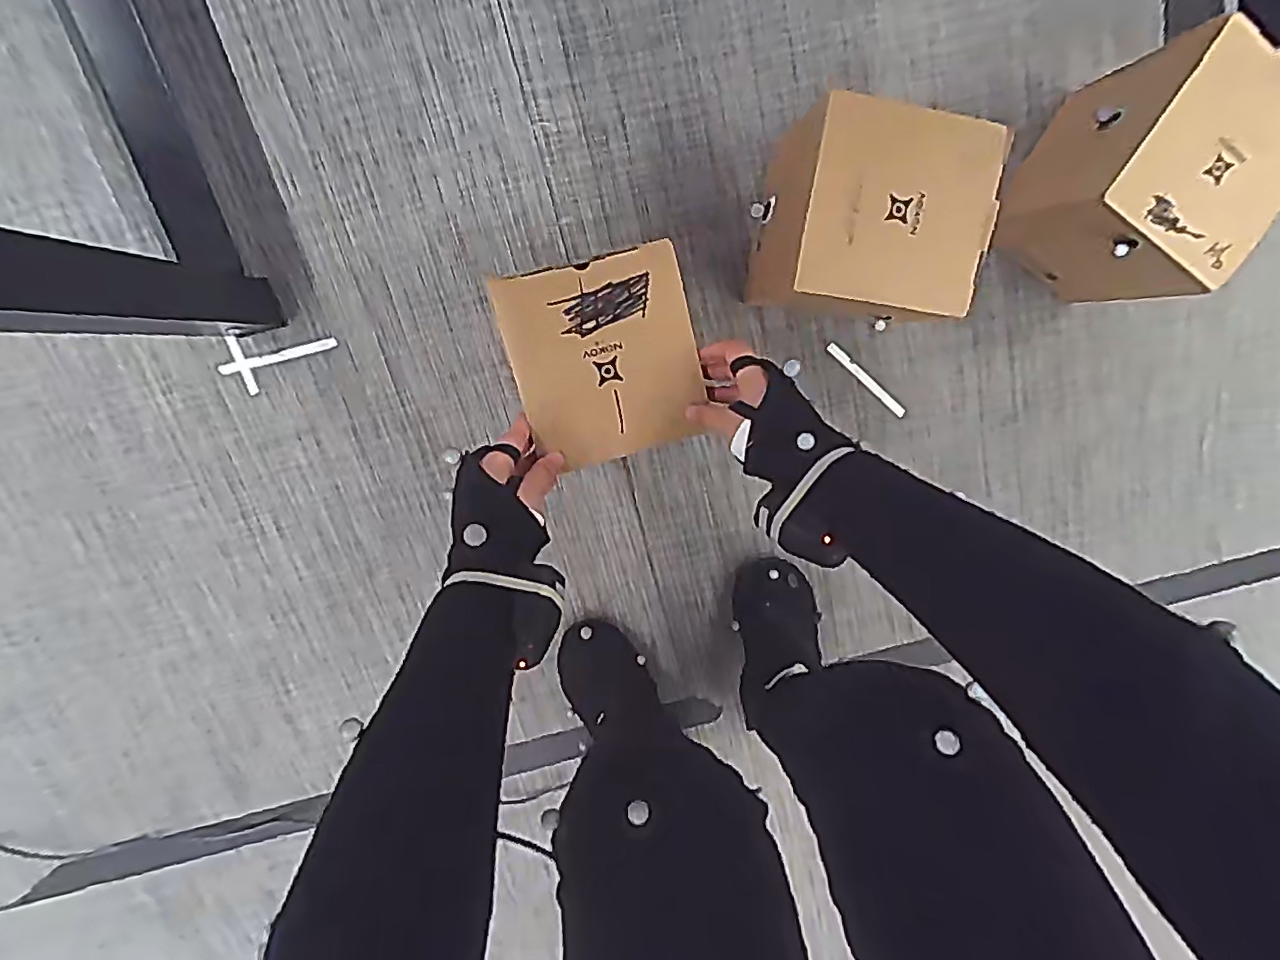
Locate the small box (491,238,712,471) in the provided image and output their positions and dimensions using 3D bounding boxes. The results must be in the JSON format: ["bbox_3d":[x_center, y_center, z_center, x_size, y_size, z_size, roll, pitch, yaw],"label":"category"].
[{"bbox_3d":[-0.041,-0.123,0.558,0.168,0.176,0.179,-15,103,-4],"label":"small box"}]

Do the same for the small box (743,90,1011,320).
[{"bbox_3d":[0.224,-0.262,0.561,0.179,0.176,0.168,6,103,-6],"label":"small box"}]

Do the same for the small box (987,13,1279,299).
[{"bbox_3d":[0.523,-0.313,0.572,0.168,0.176,0.179,28,100,-12],"label":"small box"}]
